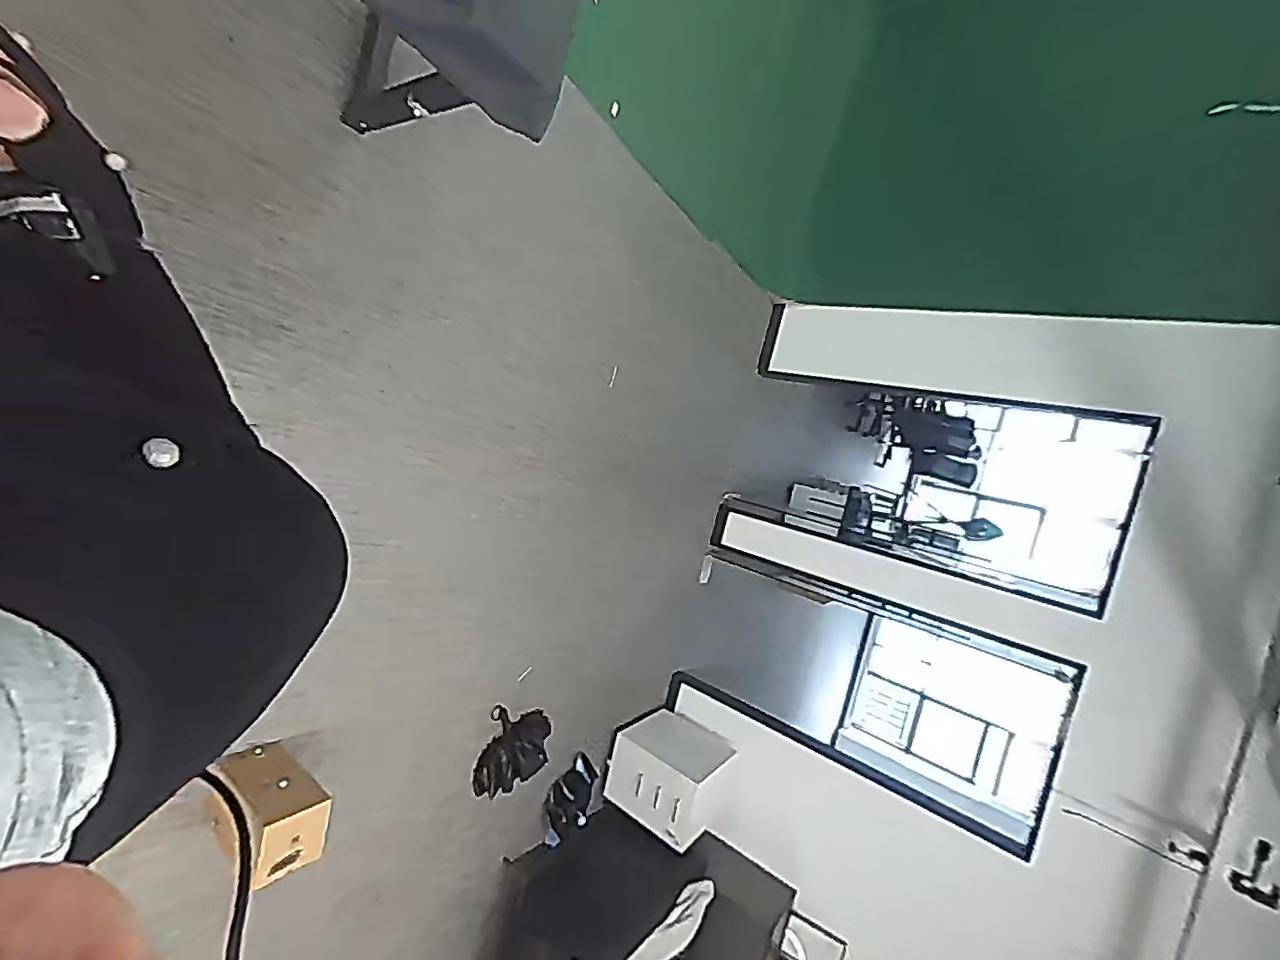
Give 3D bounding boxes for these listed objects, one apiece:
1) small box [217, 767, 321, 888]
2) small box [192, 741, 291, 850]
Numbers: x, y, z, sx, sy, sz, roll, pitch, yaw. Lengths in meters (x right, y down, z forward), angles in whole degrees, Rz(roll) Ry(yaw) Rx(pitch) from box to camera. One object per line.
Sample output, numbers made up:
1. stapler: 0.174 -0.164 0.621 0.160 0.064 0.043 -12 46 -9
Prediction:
1. small box: -0.981 0.904 1.426 0.168 0.176 0.179 5 99 -58
2. small box: -1.118 0.871 1.512 0.168 0.176 0.179 5 98 -58
